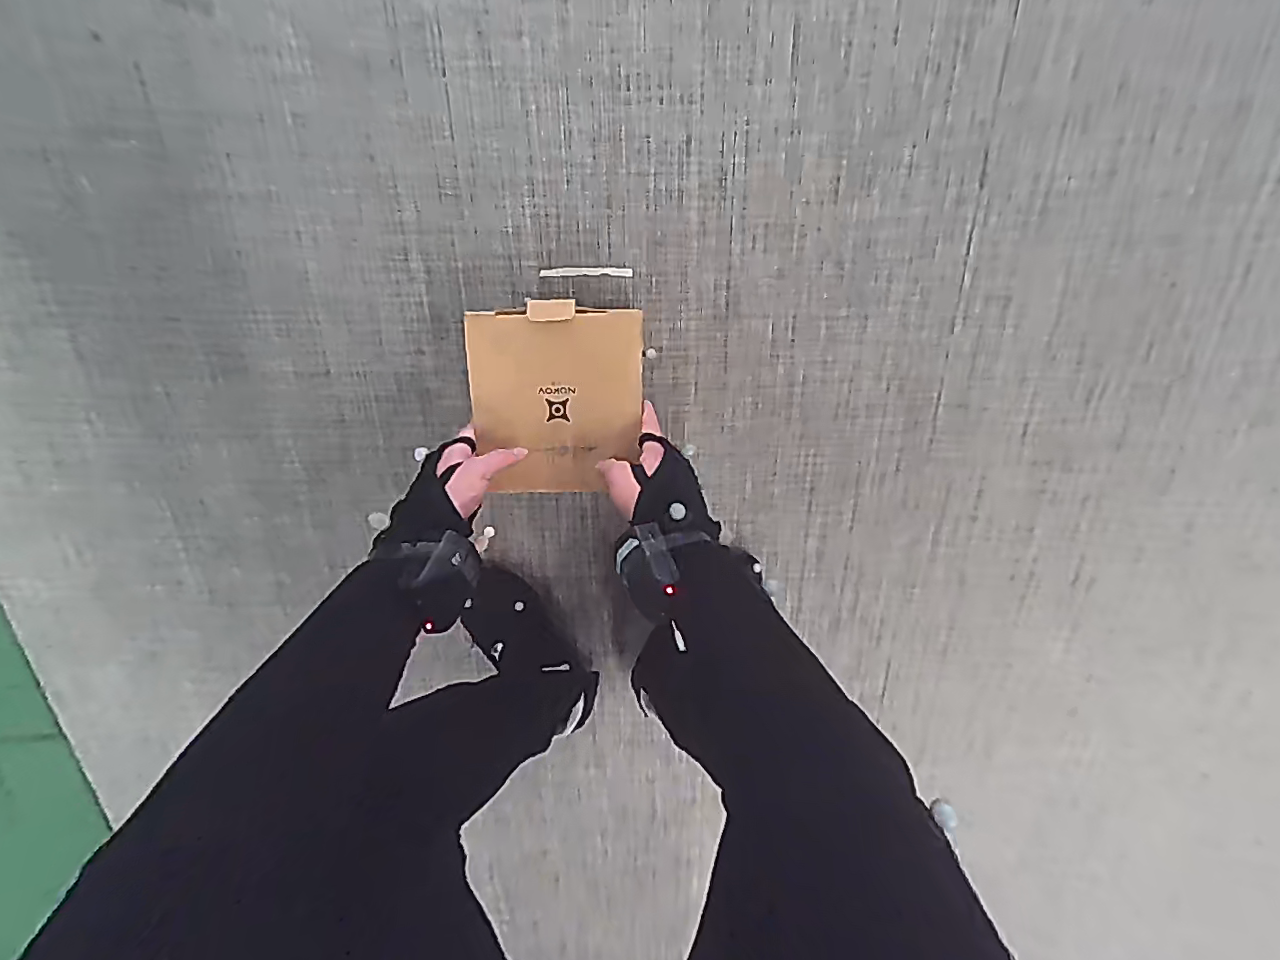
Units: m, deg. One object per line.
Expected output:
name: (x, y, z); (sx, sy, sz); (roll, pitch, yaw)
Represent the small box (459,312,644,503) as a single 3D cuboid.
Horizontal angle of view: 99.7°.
small box: (-0.081, -0.083, 0.578); (0.168, 0.176, 0.179); (1, 105, 1)
